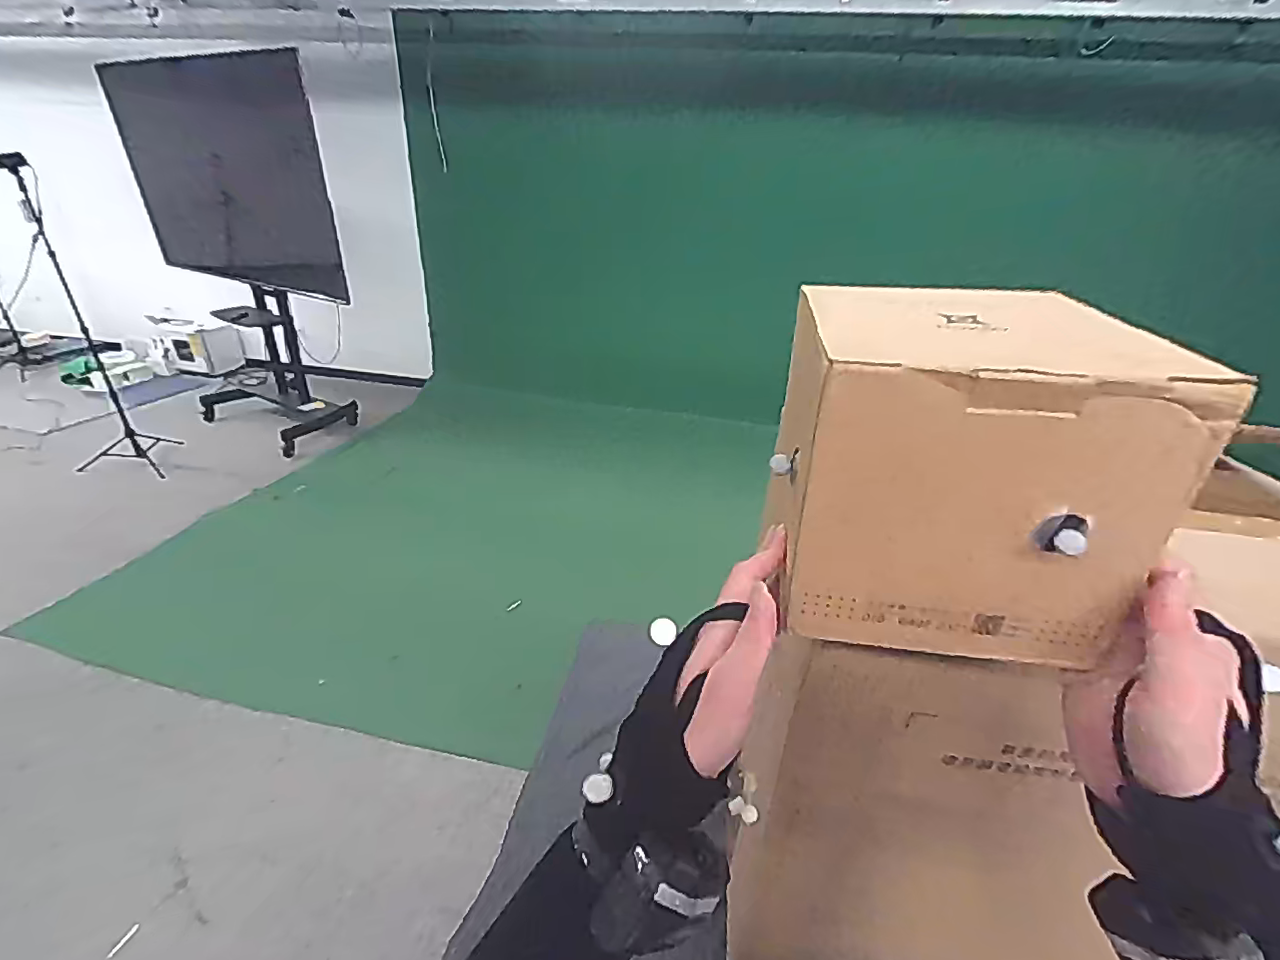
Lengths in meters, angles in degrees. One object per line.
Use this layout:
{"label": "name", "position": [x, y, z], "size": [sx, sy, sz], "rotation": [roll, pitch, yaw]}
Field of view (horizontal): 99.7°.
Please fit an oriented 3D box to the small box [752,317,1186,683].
{"label": "small box", "position": [0.163, 0.001, 0.344], "size": [0.168, 0.176, 0.179], "rotation": [4, 30, 9]}
